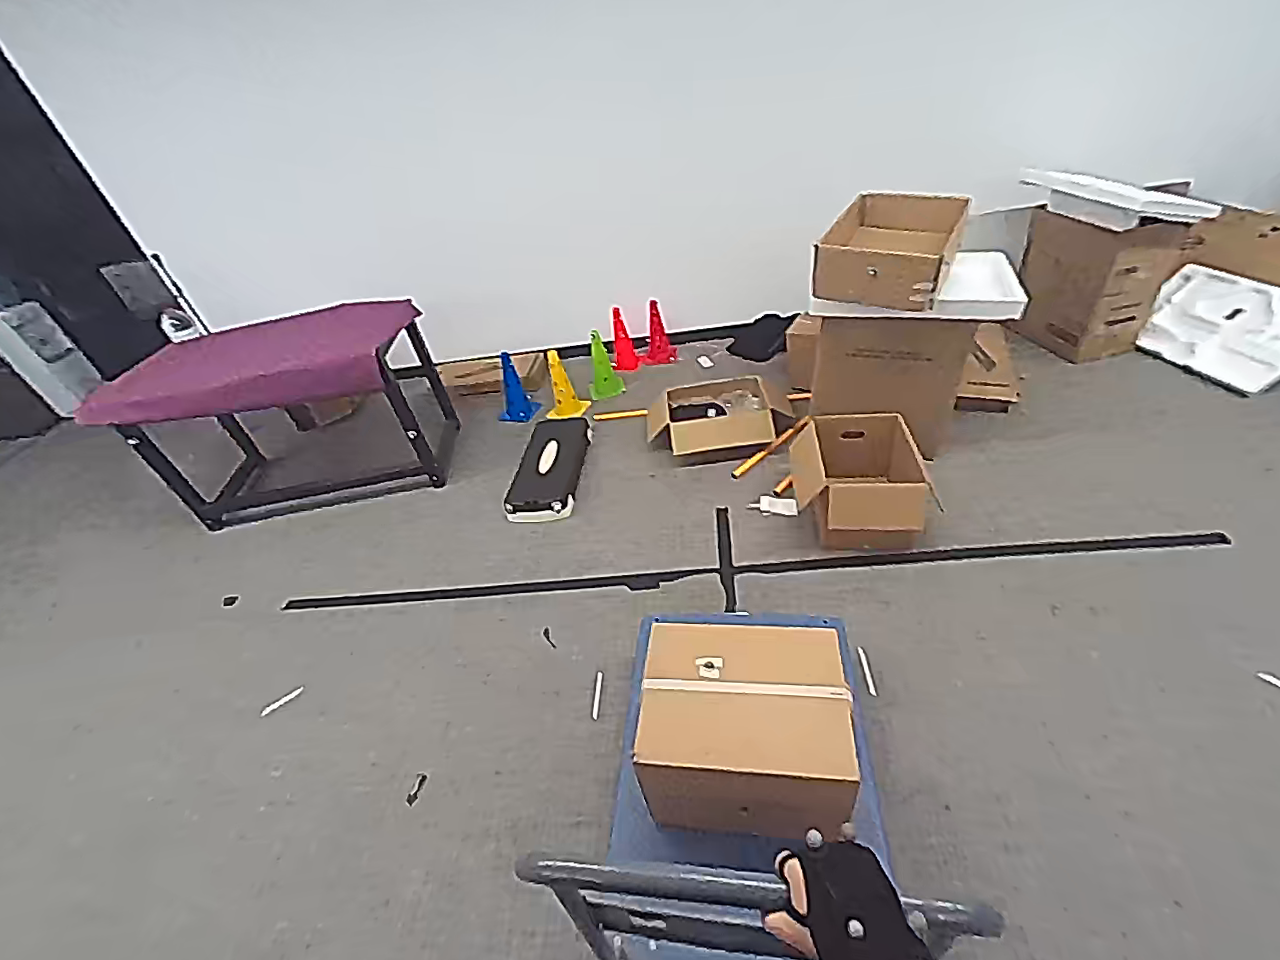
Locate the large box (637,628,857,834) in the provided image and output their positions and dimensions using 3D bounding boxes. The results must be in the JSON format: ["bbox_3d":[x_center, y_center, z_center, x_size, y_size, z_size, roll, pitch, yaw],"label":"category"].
[{"bbox_3d":[0.232,0.546,1.191,0.408,0.320,0.320,-3,38,12],"label":"large box"}]
